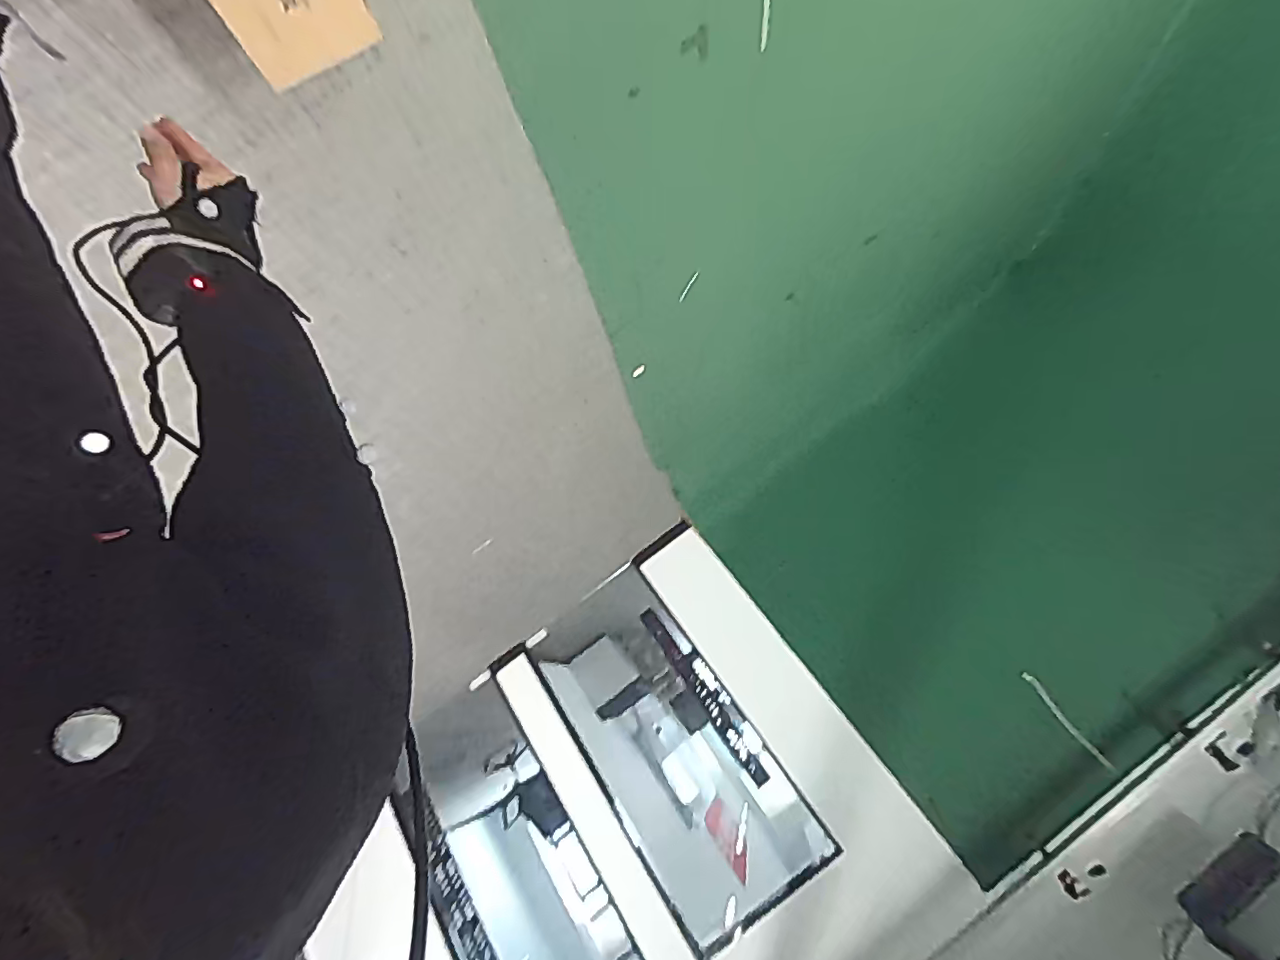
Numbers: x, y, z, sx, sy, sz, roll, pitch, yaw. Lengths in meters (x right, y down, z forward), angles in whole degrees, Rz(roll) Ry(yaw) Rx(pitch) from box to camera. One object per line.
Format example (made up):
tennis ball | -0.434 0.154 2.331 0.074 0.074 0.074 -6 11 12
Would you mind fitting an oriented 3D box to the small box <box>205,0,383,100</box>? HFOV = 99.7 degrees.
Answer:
small box | -0.497 -0.674 0.734 0.179 0.176 0.168 -34 155 -6
